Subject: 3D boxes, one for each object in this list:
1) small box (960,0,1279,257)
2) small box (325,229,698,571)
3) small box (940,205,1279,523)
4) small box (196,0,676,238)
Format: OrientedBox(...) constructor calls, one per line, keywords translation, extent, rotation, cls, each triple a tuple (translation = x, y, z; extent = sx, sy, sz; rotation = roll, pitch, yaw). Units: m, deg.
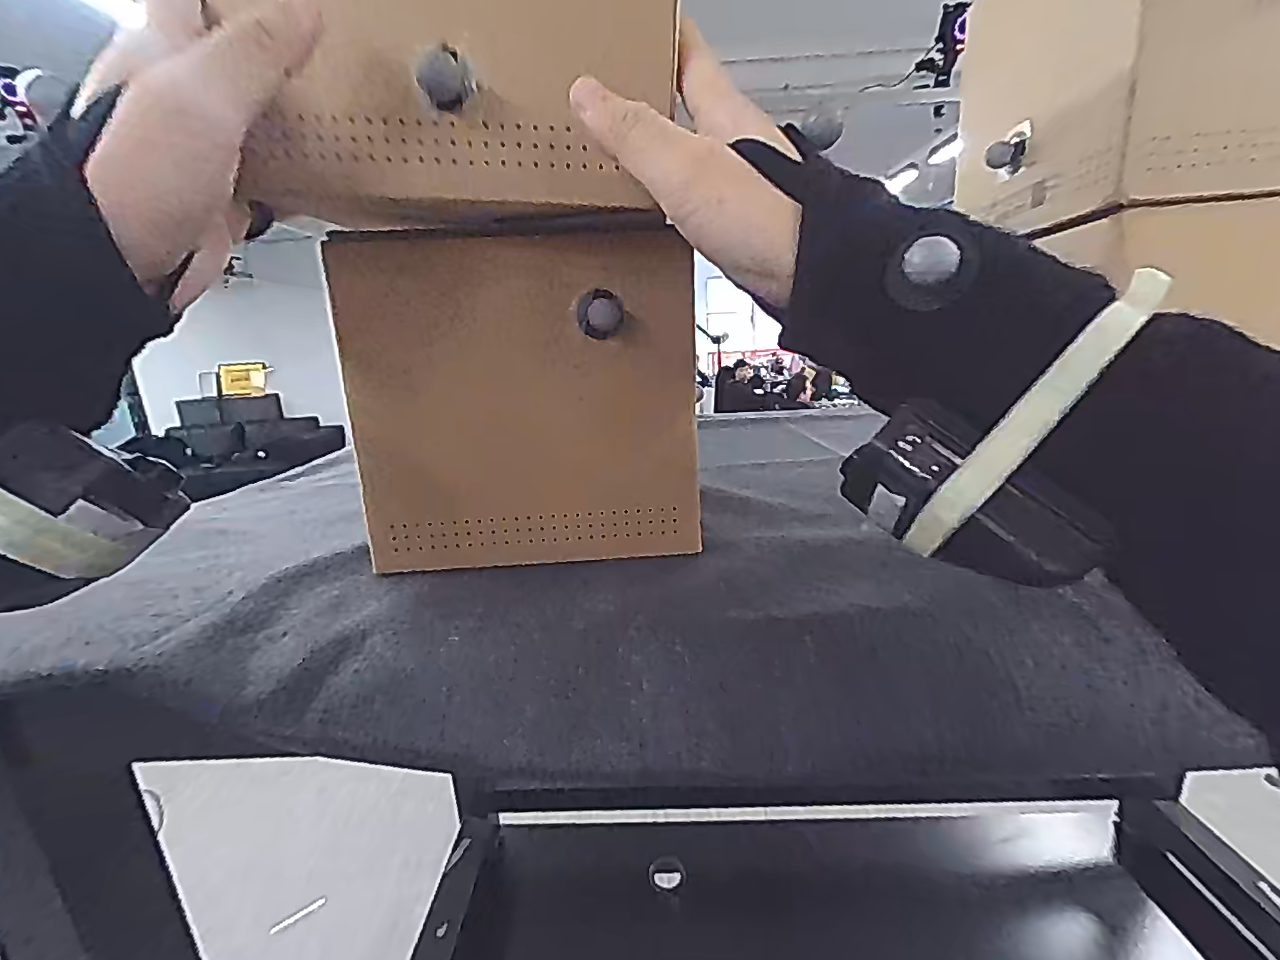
OrientedBox(translation=(0.312, -0.229, 0.309), extent=(0.179, 0.176, 0.168), rotation=(-3, 12, 6), cls="small box")
OrientedBox(translation=(-0.060, -0.051, 0.347), extent=(0.179, 0.176, 0.168), rotation=(-4, 13, -2), cls="small box")
OrientedBox(translation=(0.323, -0.072, 0.357), extent=(0.168, 0.176, 0.179), rotation=(-2, 13, 5), cls="small box")
OrientedBox(translation=(-0.074, -0.207, 0.264), extent=(0.179, 0.176, 0.168), rotation=(2, 16, -2), cls="small box")
